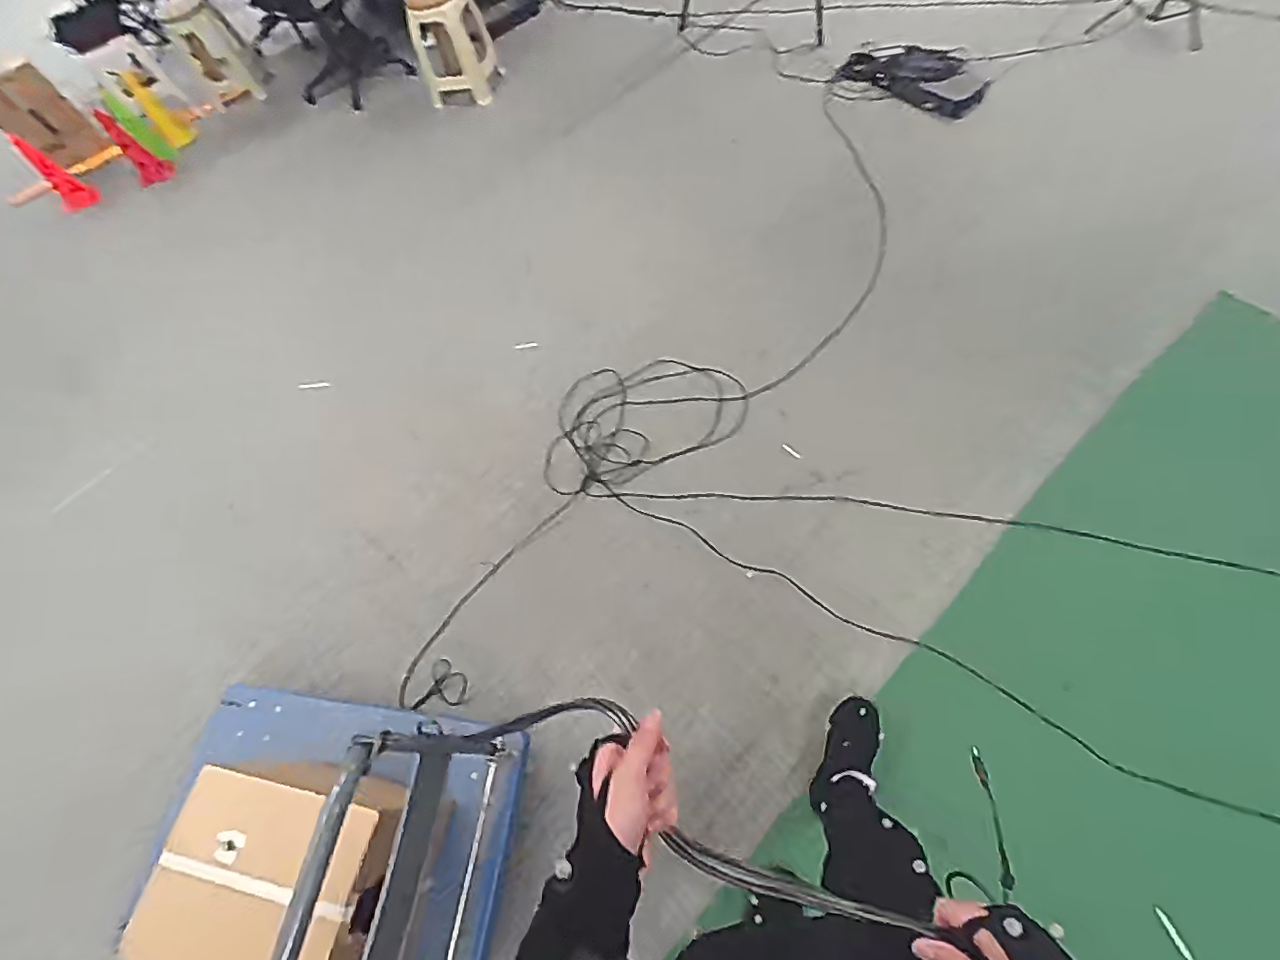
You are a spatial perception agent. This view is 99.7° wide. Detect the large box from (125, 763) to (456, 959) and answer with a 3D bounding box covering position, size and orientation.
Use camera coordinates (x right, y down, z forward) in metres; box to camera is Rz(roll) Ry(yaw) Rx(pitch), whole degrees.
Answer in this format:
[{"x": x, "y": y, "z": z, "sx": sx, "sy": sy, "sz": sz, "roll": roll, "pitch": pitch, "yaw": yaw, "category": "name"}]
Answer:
[{"x": -0.657, "y": 0.783, "z": 1.092, "sx": 0.408, "sy": 0.320, "sz": 0.320, "roll": 6, "pitch": 64, "yaw": 13, "category": "large box"}]
